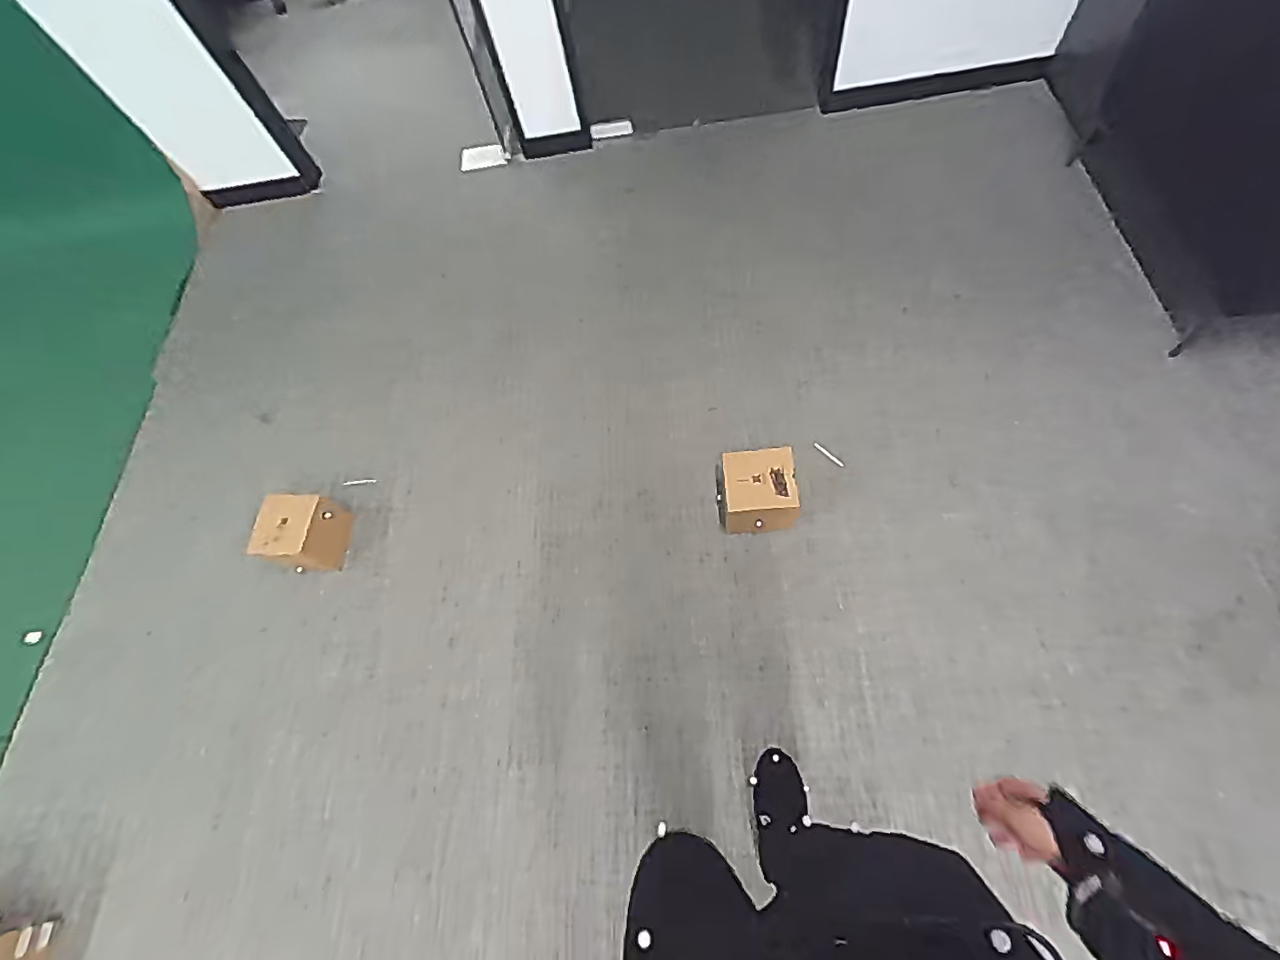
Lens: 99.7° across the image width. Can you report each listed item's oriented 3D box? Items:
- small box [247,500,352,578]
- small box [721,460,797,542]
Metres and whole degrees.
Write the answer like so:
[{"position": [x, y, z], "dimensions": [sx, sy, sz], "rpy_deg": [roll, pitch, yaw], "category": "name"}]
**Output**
[{"position": [-0.955, 0.169, 1.537], "dimensions": [0.168, 0.176, 0.179], "rpy_deg": [0, 65, 8], "category": "small box"}, {"position": [0.307, 0.059, 1.426], "dimensions": [0.179, 0.176, 0.168], "rpy_deg": [-4, 64, 7], "category": "small box"}]
